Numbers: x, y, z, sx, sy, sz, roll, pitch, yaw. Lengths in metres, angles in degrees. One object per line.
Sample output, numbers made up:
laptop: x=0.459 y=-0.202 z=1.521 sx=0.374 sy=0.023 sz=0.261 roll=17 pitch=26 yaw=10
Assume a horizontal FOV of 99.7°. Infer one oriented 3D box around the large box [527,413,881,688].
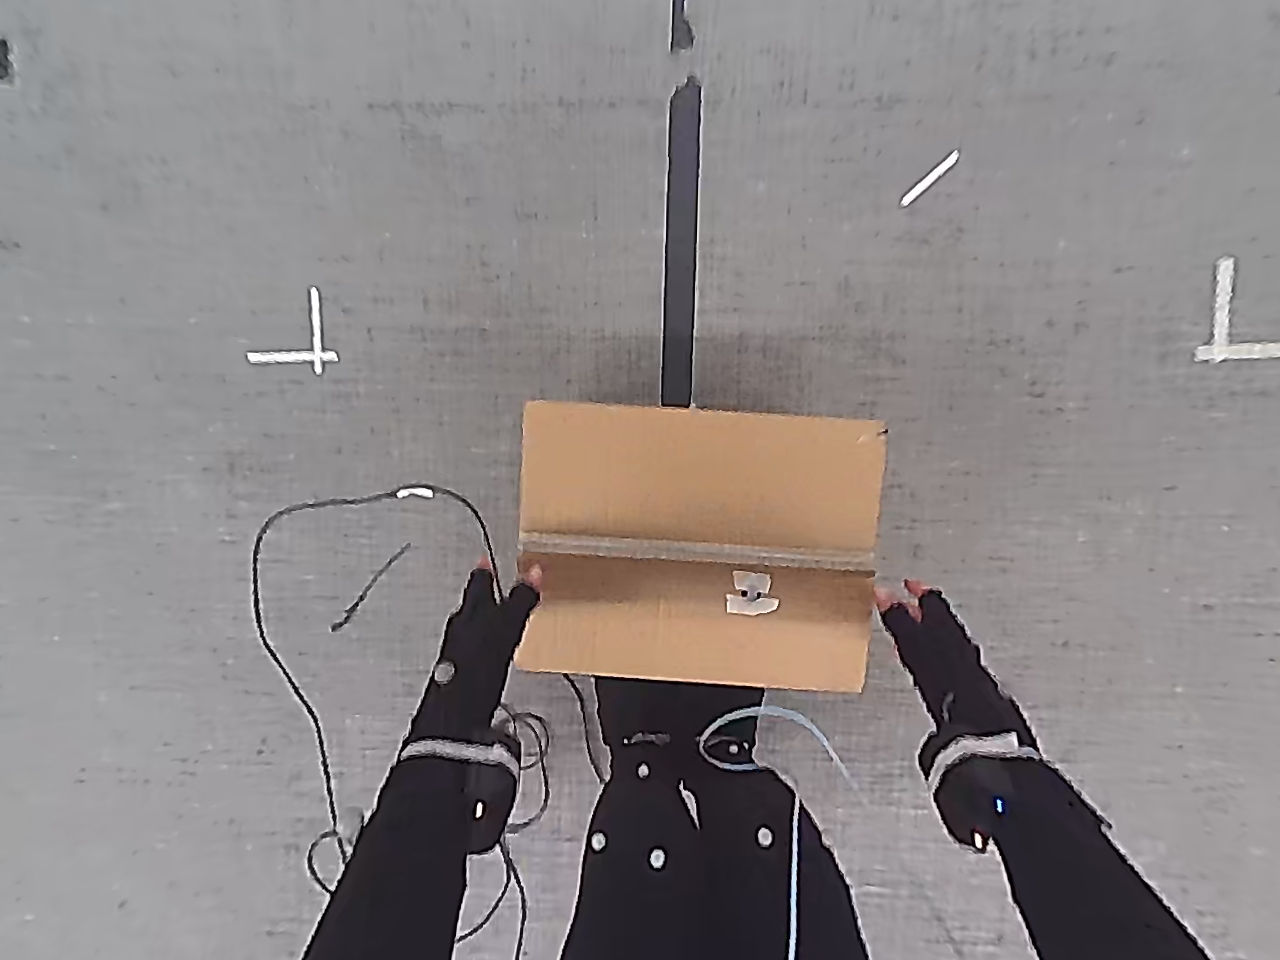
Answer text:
large box: x=0.071 y=0.075 z=0.773 sx=0.408 sy=0.320 sz=0.320 roll=3 pitch=95 yaw=1
